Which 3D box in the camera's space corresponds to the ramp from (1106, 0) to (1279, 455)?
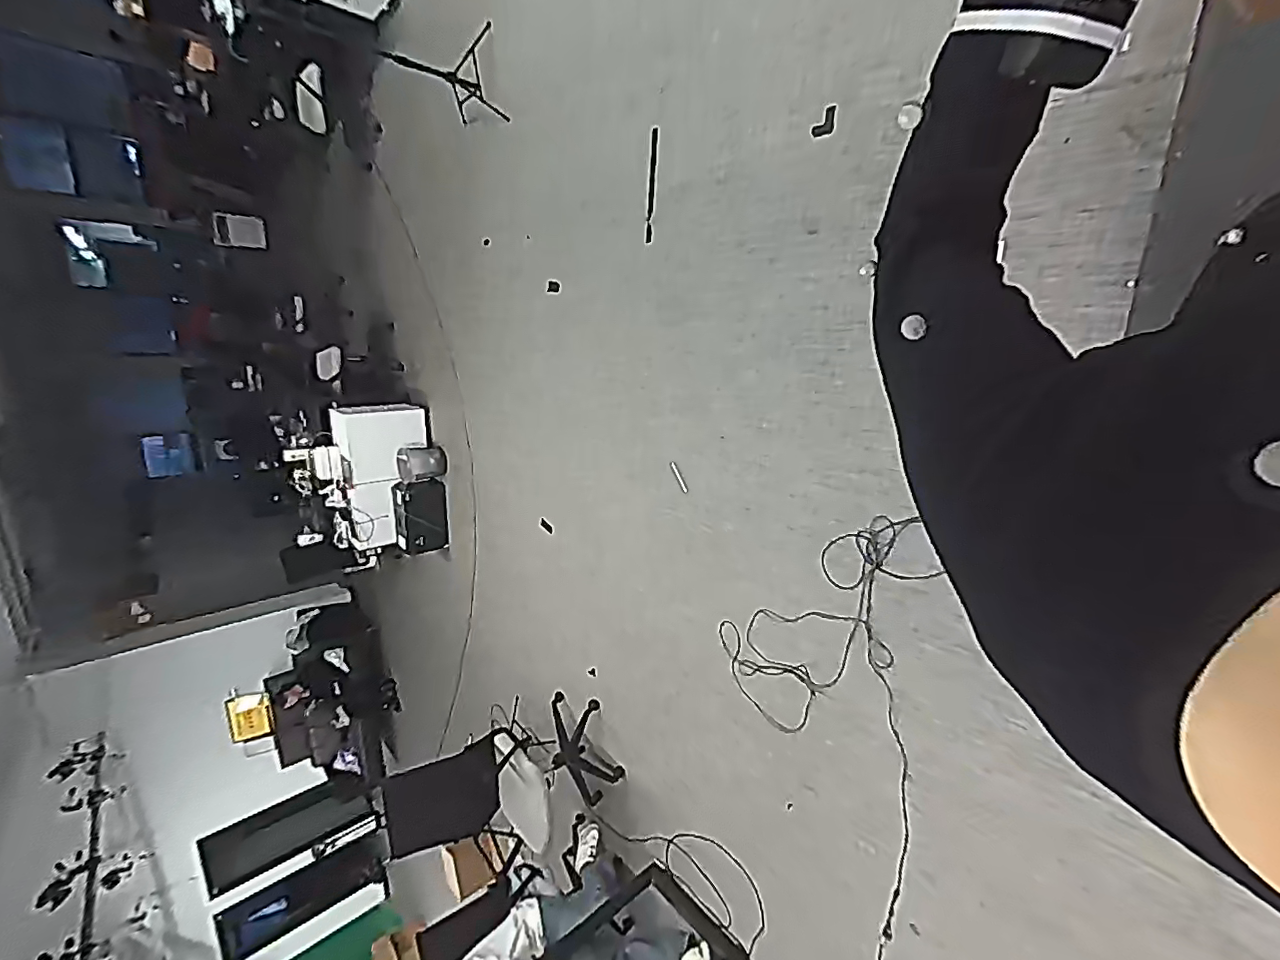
[{"bbox_3d":[1.144,-0.507,0.840,0.509,0.206,0.991,15,111,45],"label":"ramp"}]
